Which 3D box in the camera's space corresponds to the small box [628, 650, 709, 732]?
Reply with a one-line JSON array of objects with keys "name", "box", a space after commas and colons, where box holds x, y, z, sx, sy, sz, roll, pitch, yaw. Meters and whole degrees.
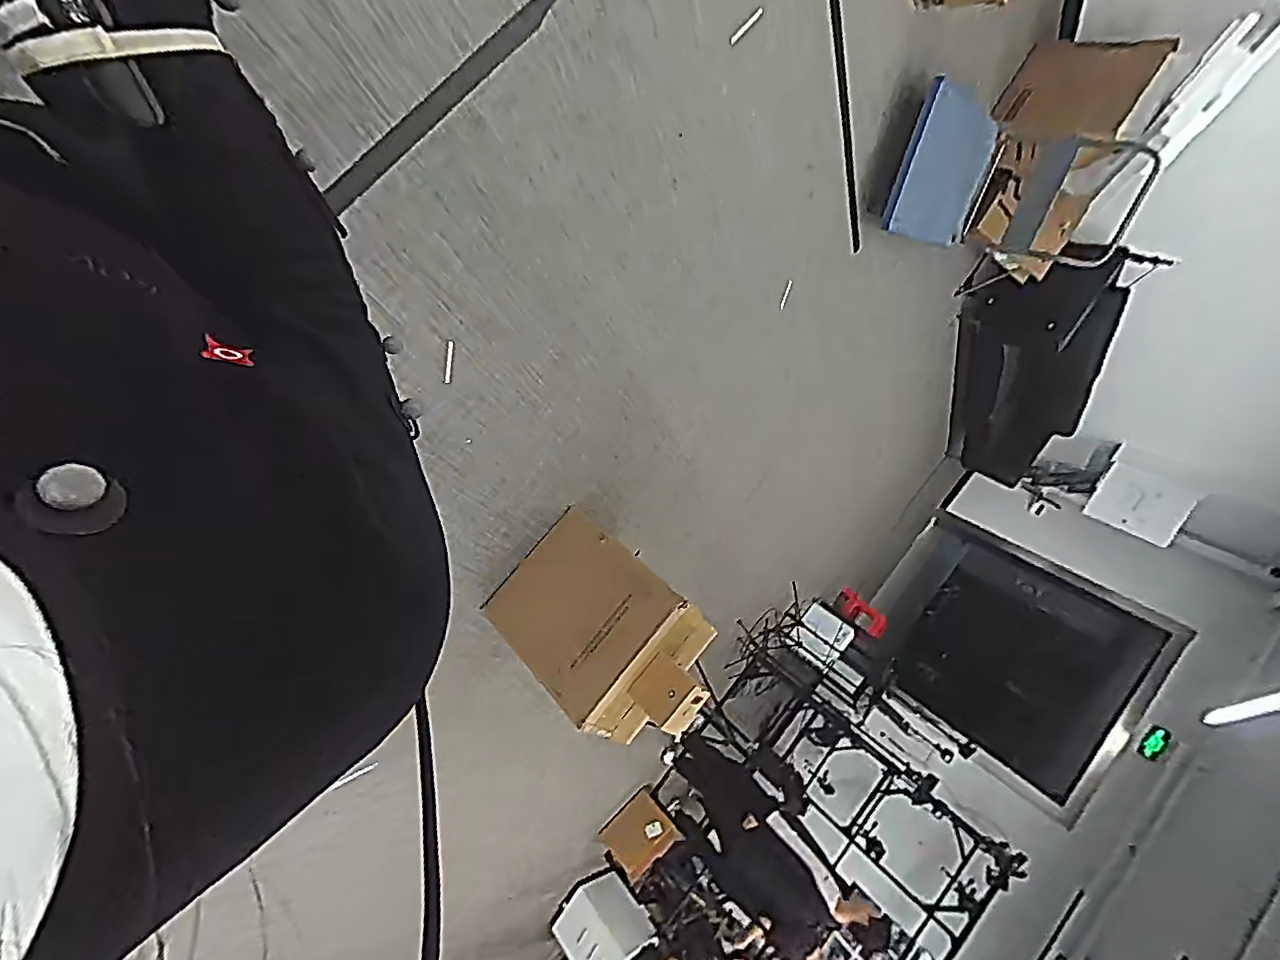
[{"name": "small box", "box": [0.094, 0.691, 1.776, 0.179, 0.176, 0.168, -48, 142, -9]}]
